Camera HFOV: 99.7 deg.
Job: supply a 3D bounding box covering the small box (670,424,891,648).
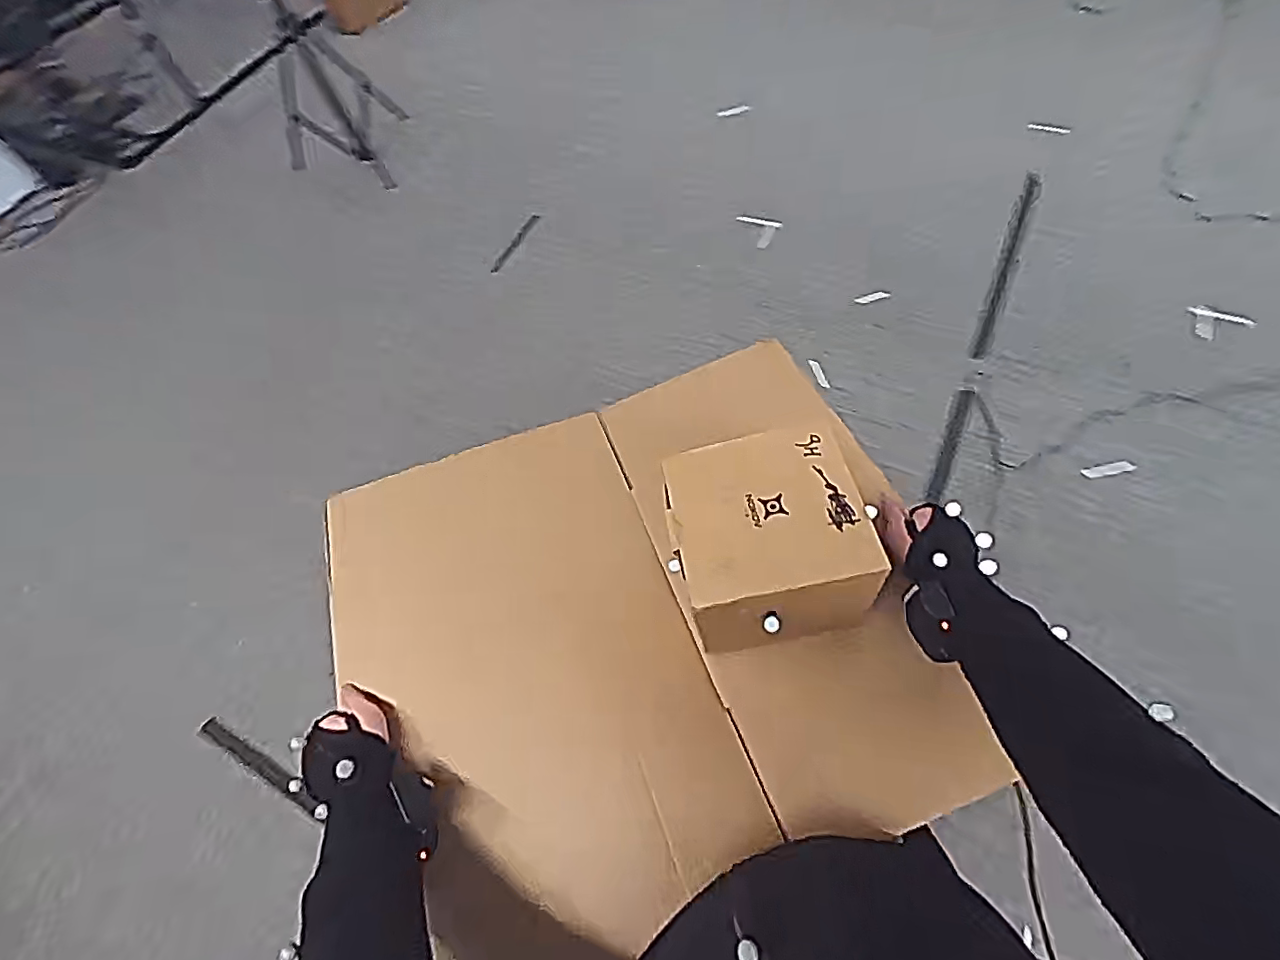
[{"bbox_3d":[0.141,0.070,0.581,0.179,0.176,0.168,-13,57,6],"label":"small box"}]
